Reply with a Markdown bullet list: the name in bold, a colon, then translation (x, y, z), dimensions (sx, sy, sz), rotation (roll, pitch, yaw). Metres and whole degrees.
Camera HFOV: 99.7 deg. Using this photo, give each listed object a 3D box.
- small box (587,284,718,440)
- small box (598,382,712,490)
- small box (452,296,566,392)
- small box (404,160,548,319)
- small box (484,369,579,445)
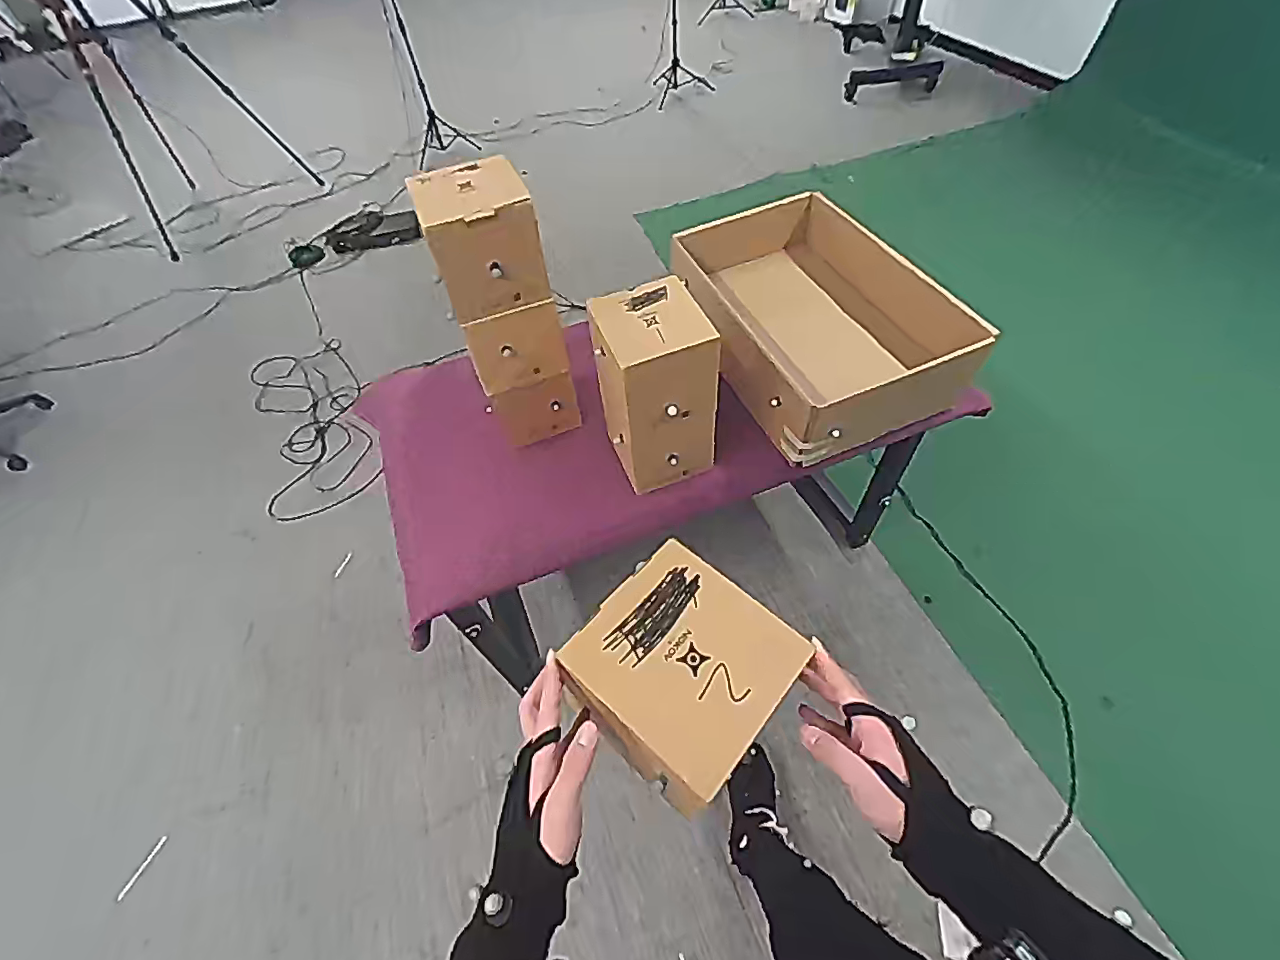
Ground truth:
- **small box**: translation (0.020, -0.199, 0.924), dimensions (0.168, 0.176, 0.179), rotation (-20, 54, -9)
- **small box**: translation (0.030, -0.101, 1.055), dimensions (0.168, 0.176, 0.179), rotation (-19, 54, -10)
- **small box**: translation (-0.250, -0.287, 1.019), dimensions (0.168, 0.176, 0.179), rotation (-20, 54, -10)
- **small box**: translation (-0.262, -0.387, 0.890), dimensions (0.168, 0.176, 0.179), rotation (-21, 55, -11)
- **small box**: translation (-0.240, -0.195, 1.152), dimensions (0.168, 0.176, 0.179), rotation (-20, 55, -10)
